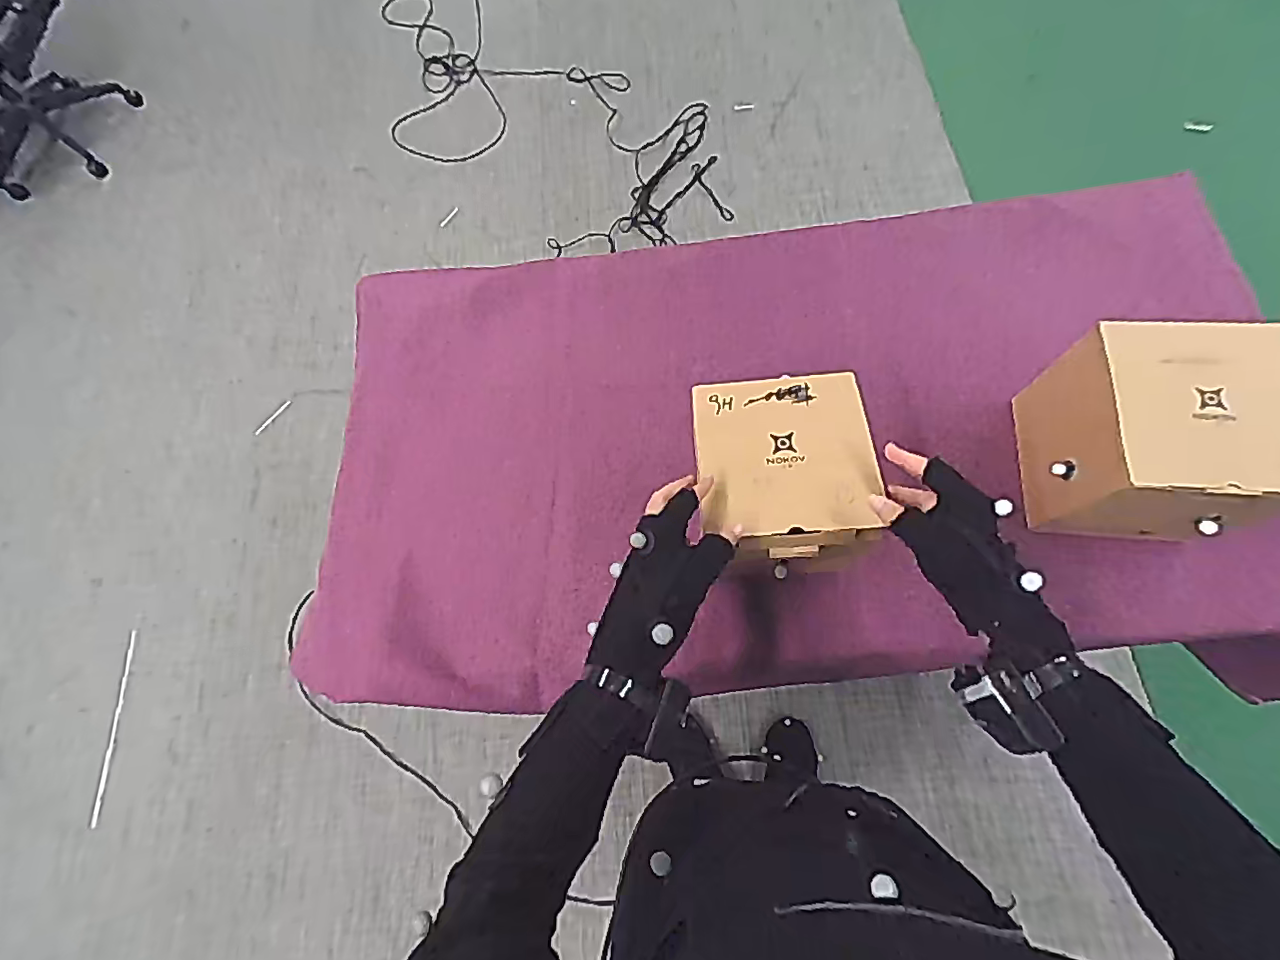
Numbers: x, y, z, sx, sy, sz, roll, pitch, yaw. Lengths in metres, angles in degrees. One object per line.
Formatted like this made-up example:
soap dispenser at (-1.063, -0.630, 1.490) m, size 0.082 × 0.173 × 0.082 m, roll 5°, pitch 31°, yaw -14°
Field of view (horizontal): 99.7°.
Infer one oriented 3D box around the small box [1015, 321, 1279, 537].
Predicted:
small box at (0.531, -0.044, 0.569) m, size 0.168 × 0.176 × 0.179 m, roll 4°, pitch 71°, yaw 9°

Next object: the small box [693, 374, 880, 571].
small box at (0.148, 0.004, 0.602) m, size 0.168 × 0.176 × 0.179 m, roll -4°, pitch 71°, yaw 6°
